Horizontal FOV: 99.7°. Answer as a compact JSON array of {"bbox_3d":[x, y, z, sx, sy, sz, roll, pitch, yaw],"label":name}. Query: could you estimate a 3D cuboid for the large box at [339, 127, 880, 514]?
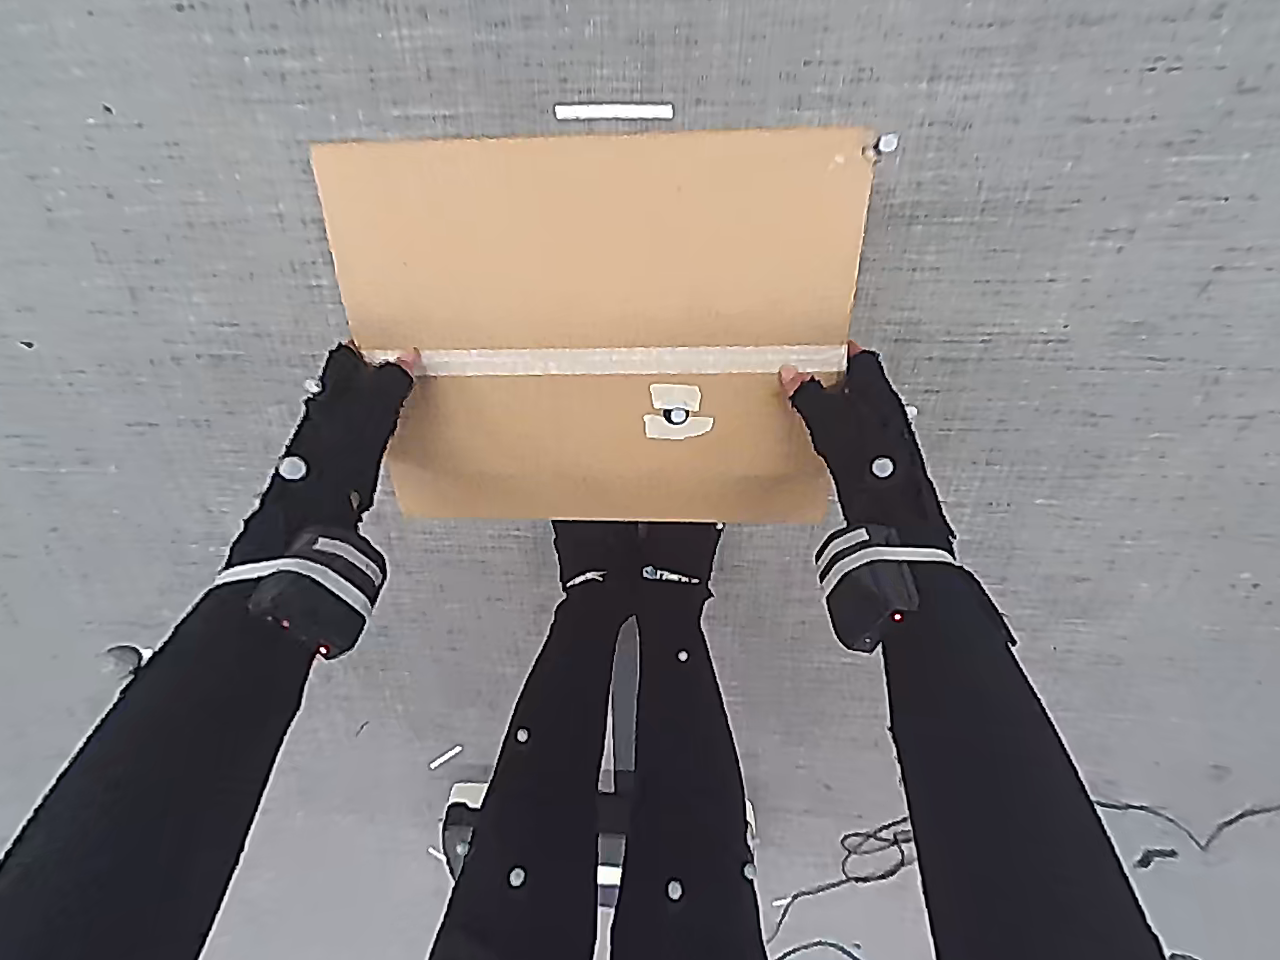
[{"bbox_3d":[-0.018,-0.171,0.587,0.408,0.320,0.320,0,117,3],"label":"large box"}]
